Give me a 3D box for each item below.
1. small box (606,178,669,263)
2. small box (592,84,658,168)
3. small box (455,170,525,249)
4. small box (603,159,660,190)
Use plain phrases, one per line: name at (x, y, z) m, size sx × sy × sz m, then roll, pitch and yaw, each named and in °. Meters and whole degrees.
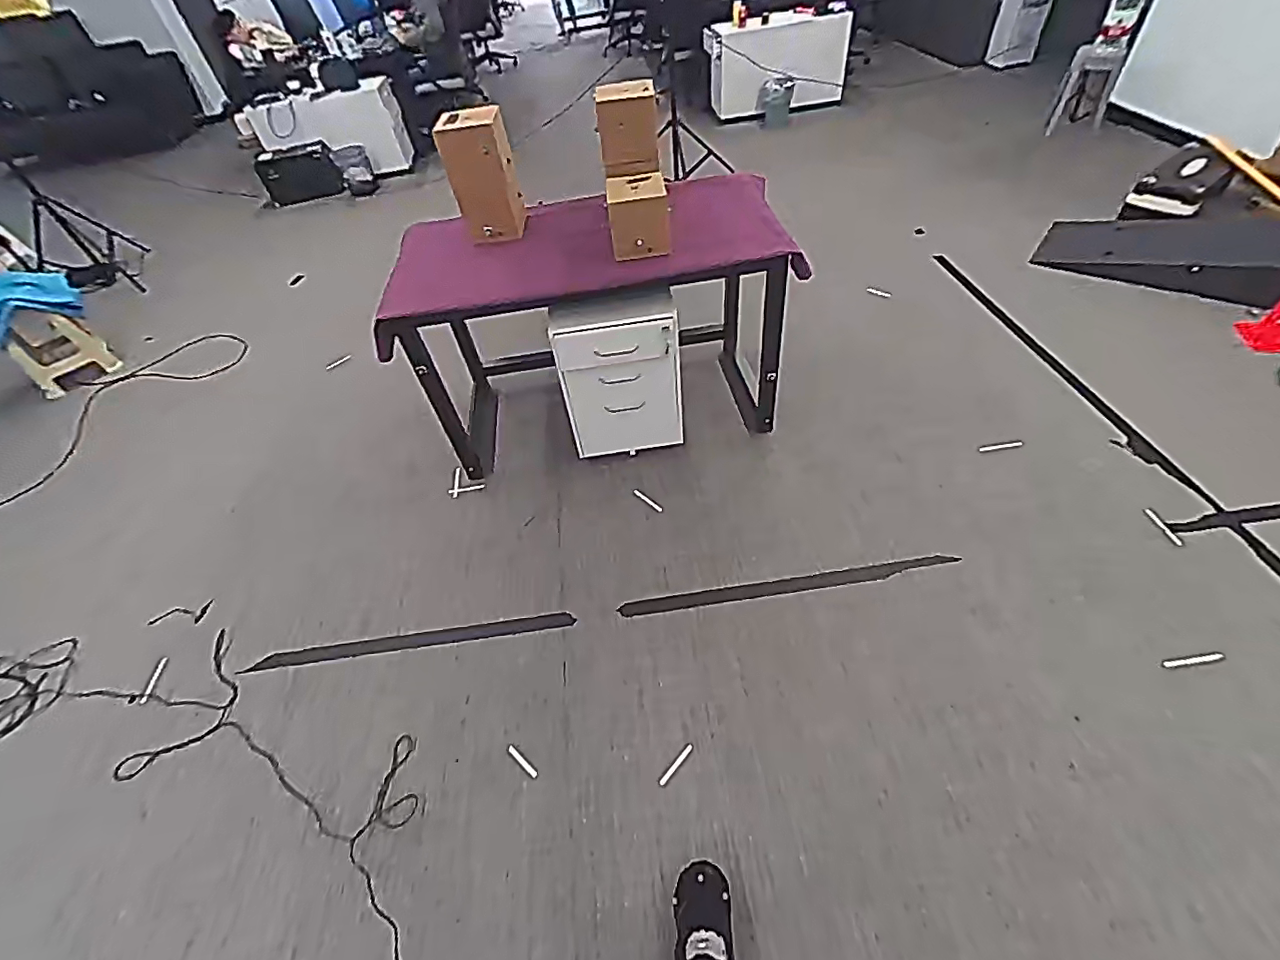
small box at (-0.008, -0.759, 1.584) m, size 0.168 × 0.176 × 0.179 m, roll -7°, pitch 47°, yaw 2°
small box at (-0.043, -1.078, 1.653) m, size 0.179 × 0.176 × 0.168 m, roll -6°, pitch 49°, yaw 4°
small box at (-0.480, -0.880, 1.761) m, size 0.168 × 0.176 × 0.179 m, roll -6°, pitch 50°, yaw 4°
small box at (-0.024, -0.969, 1.775) m, size 0.179 × 0.176 × 0.168 m, roll -7°, pitch 48°, yaw 2°
